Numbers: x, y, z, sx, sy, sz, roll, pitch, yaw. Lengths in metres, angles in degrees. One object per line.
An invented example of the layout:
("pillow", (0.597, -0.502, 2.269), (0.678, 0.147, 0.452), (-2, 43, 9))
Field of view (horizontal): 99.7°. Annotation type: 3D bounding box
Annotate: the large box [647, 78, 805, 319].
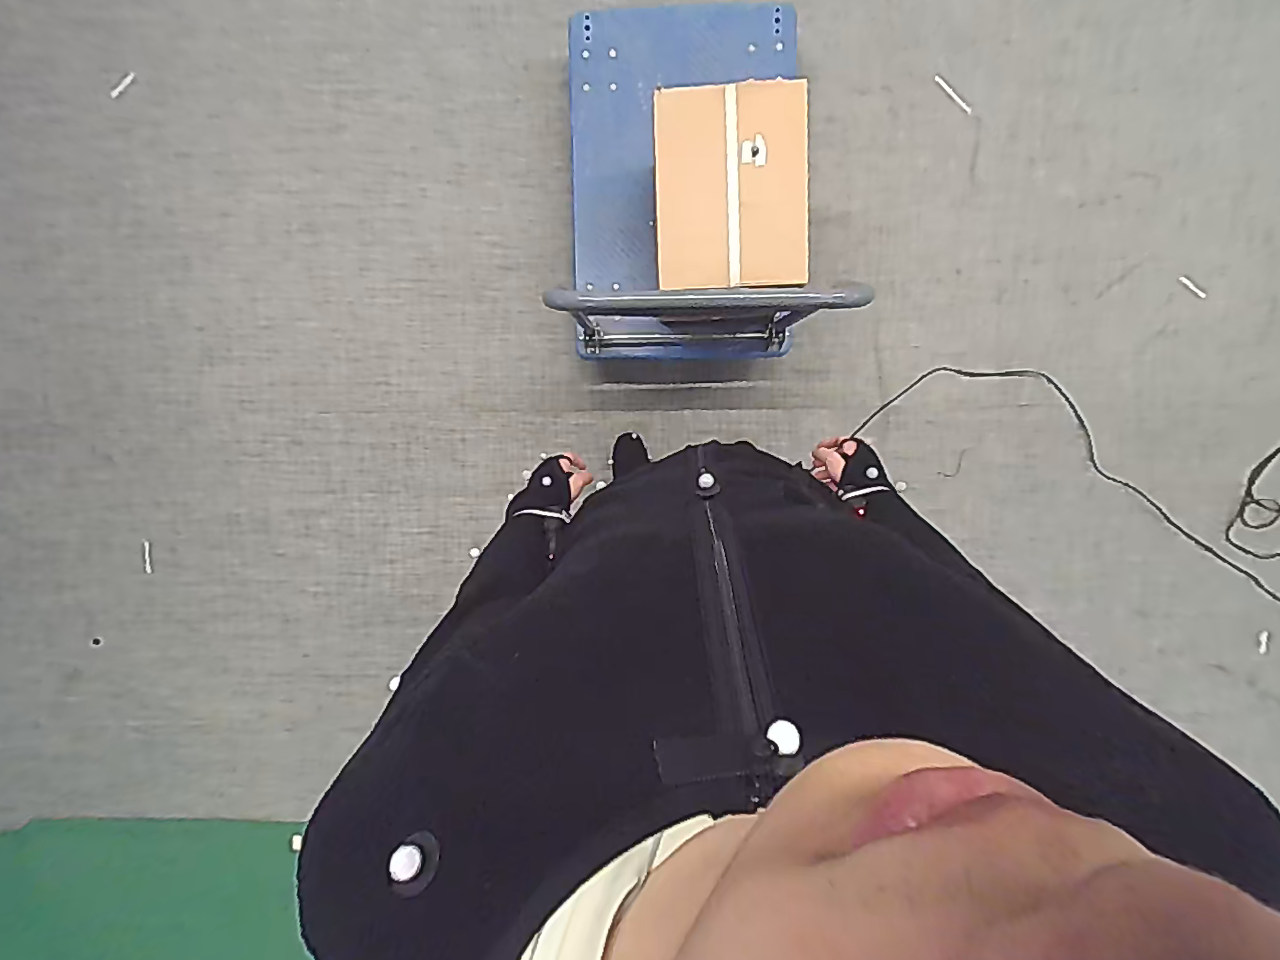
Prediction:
("large box", (0.183, -0.613, 1.252), (0.320, 0.320, 0.408), (-2, 95, 1))
